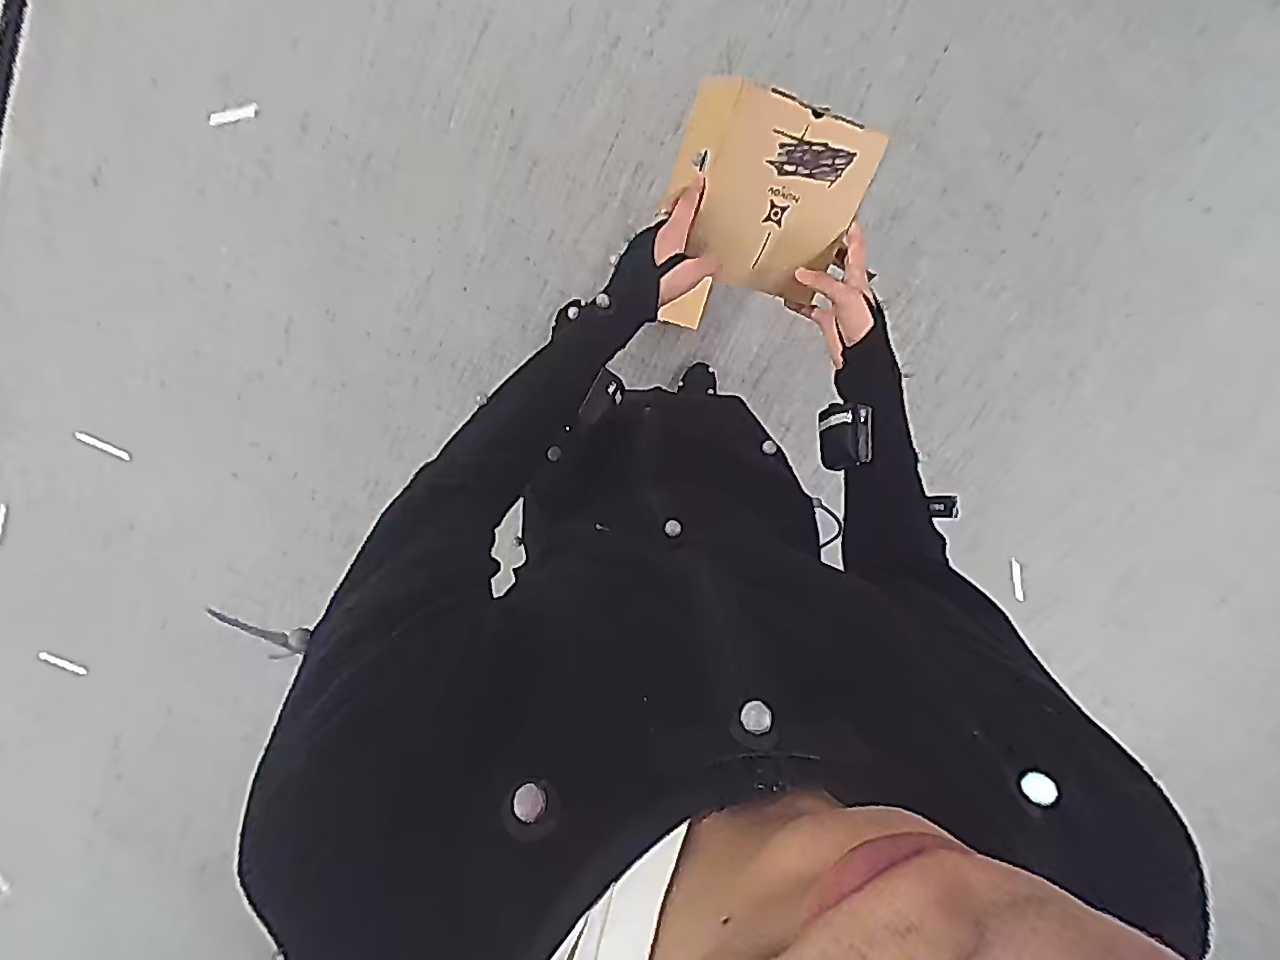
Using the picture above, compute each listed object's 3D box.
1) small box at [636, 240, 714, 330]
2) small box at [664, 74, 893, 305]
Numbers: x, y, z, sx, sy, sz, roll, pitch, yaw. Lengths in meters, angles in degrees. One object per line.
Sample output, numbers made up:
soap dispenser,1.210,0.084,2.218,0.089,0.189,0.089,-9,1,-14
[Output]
small box,0.089,-0.499,1.407,0.168,0.176,0.179,16,105,-5
small box,0.135,-0.328,0.611,0.168,0.176,0.179,10,125,-15
